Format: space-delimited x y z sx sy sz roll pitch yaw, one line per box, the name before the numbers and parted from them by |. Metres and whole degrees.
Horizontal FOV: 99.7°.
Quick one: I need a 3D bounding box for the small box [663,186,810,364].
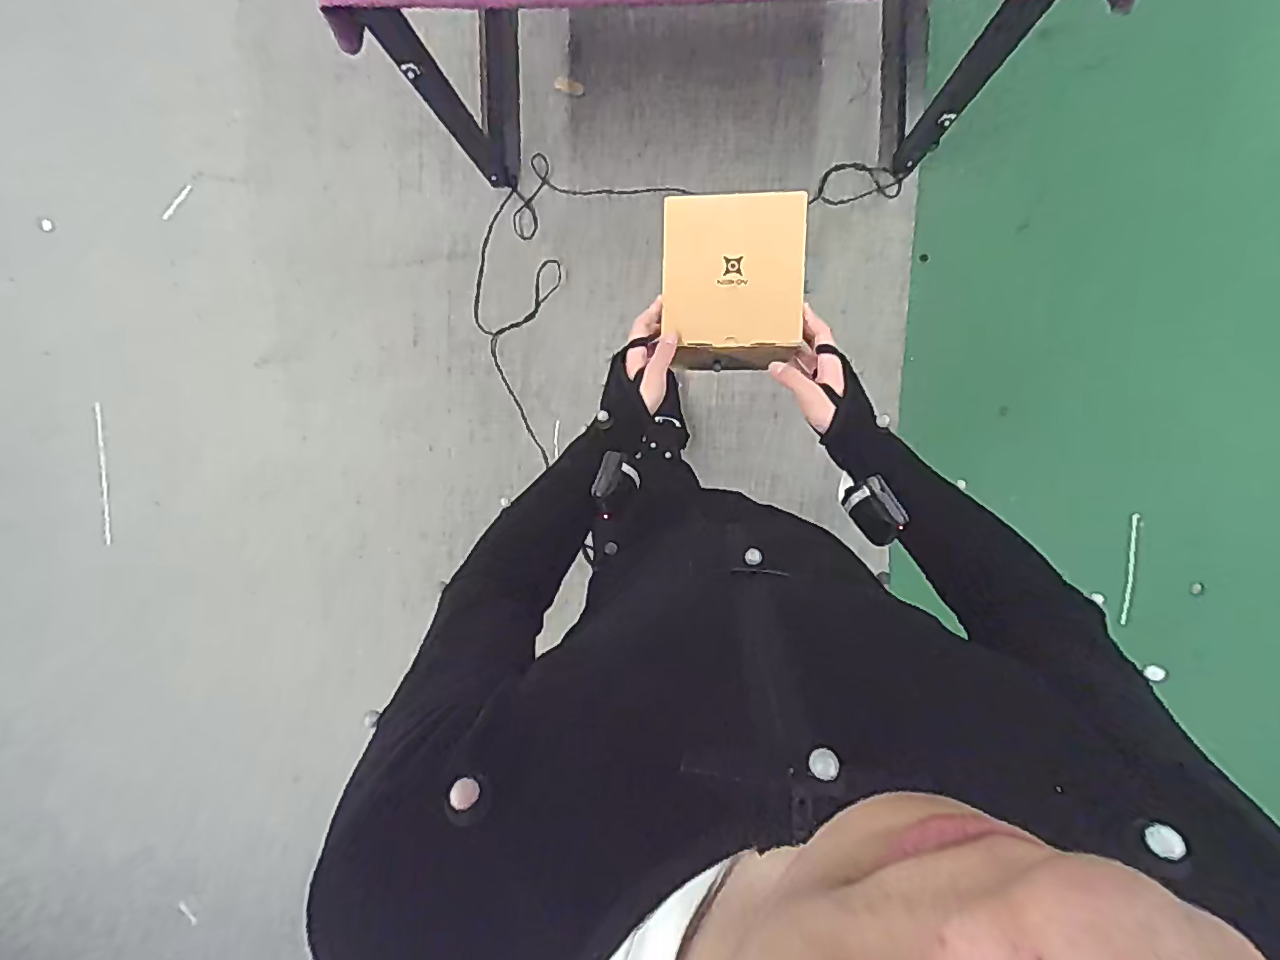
small box | 0.119 -0.254 0.704 0.168 0.176 0.179 2 94 7
